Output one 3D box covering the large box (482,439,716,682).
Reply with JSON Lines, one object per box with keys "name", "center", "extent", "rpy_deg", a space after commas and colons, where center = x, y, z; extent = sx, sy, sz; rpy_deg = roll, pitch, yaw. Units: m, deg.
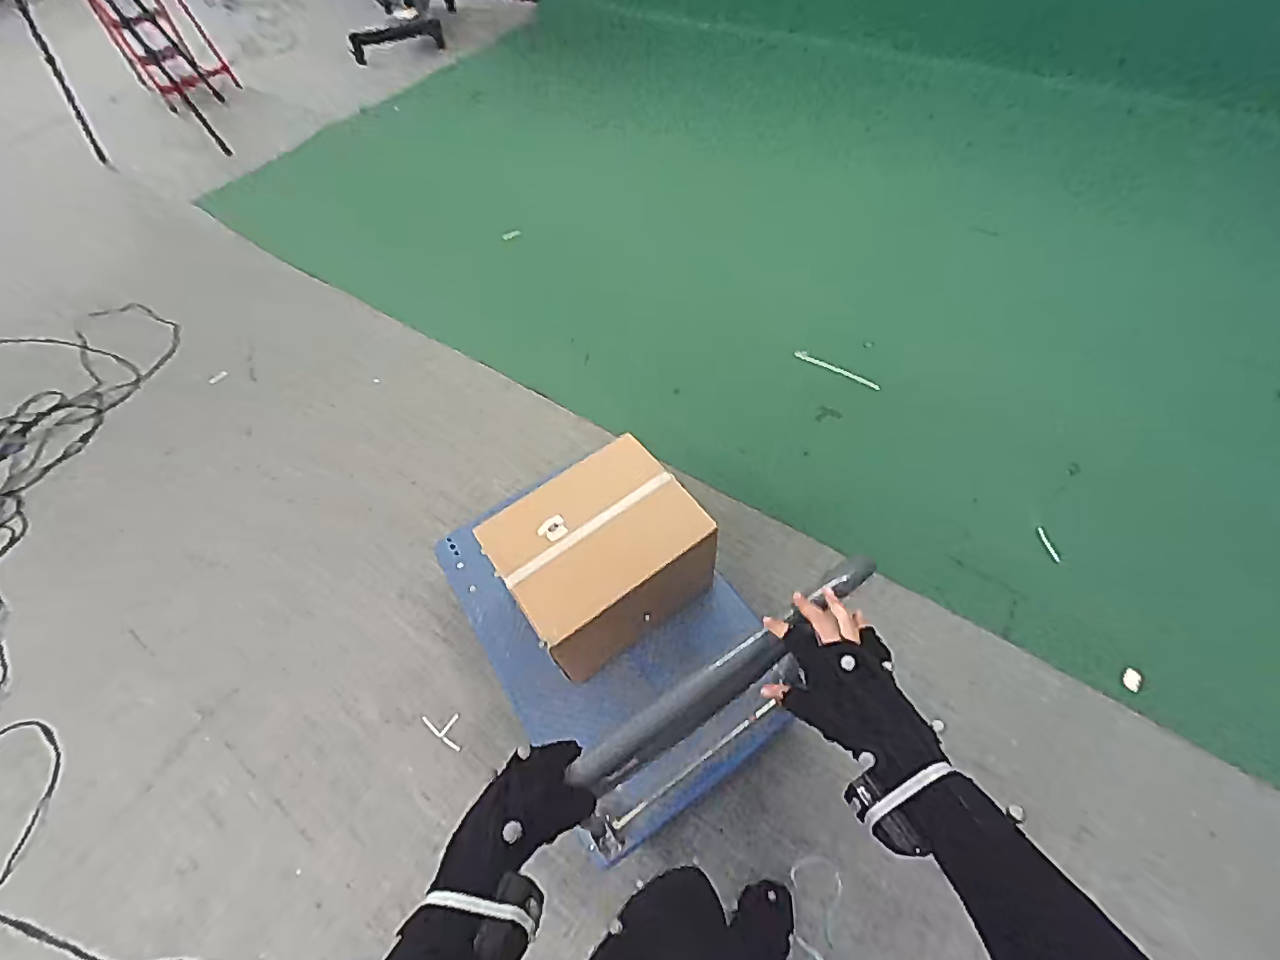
{"name": "large box", "center": [-0.074, 0.189, 1.242], "extent": [0.408, 0.320, 0.320], "rpy_deg": [-35, 61, -15]}
